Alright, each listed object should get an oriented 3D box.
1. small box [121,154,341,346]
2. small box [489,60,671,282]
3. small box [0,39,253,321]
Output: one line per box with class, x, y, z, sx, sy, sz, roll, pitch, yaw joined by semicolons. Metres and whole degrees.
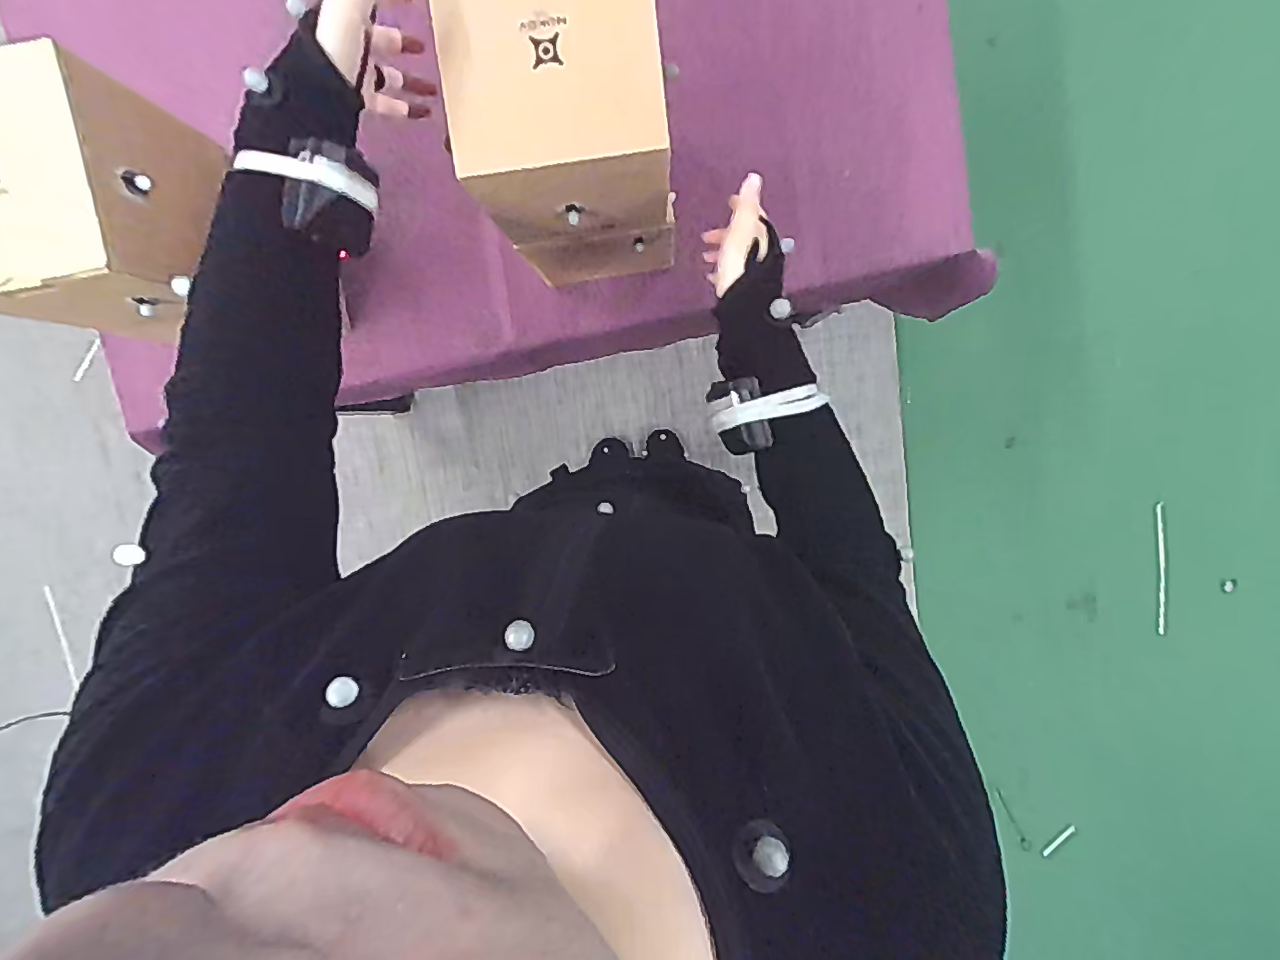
small box;-0.503;-0.269;0.671;0.179;0.176;0.168;-9;96;3
small box;-0.058;-0.347;0.643;0.179;0.176;0.168;-7;97;3
small box;-0.510;-0.254;0.509;0.168;0.176;0.179;-7;96;3
